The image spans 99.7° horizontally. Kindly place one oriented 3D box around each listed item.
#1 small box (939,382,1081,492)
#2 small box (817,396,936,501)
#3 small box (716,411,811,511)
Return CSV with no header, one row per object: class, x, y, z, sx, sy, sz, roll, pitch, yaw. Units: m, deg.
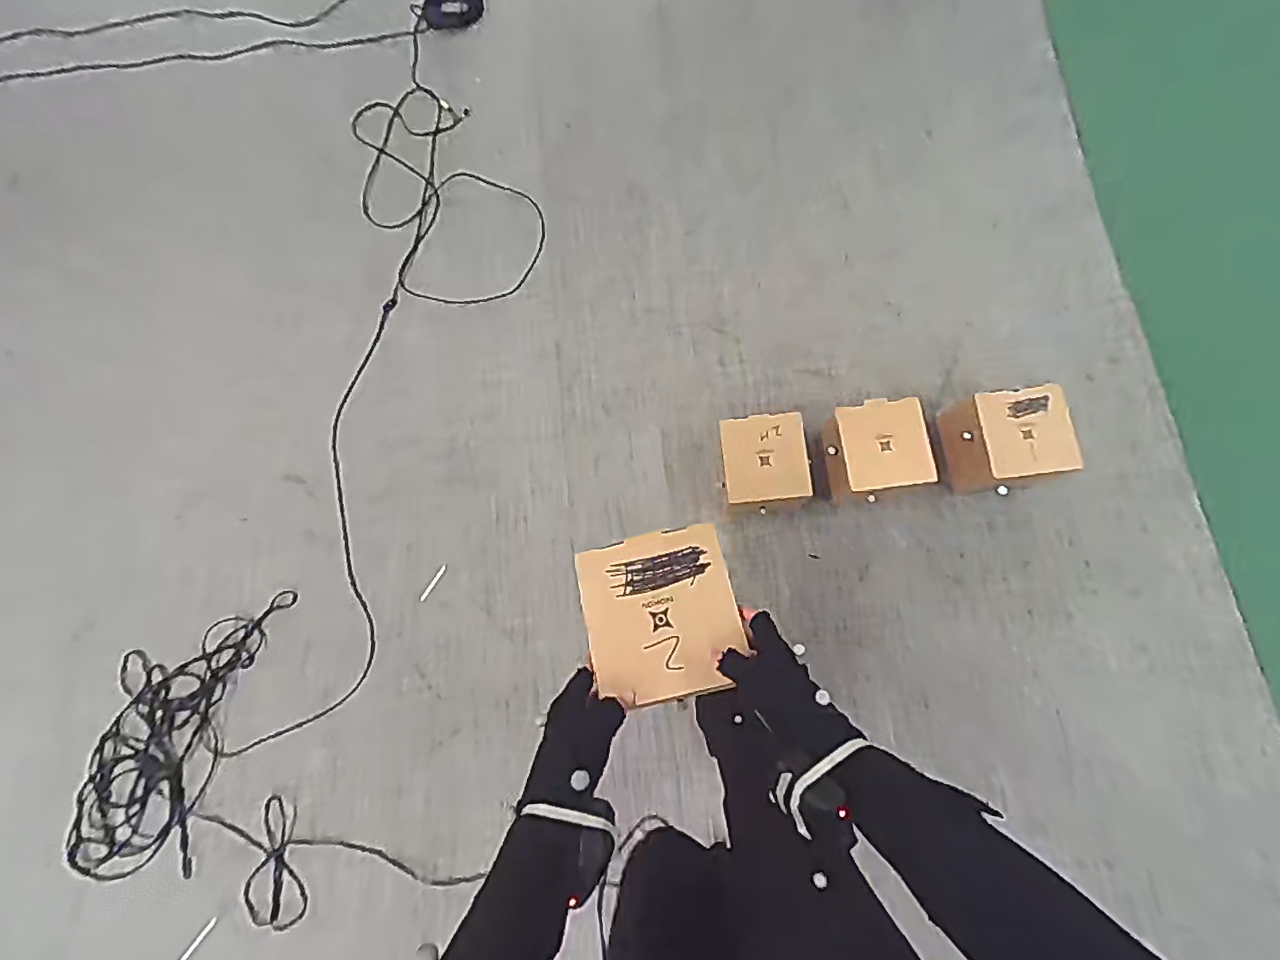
small box,0.747,-0.082,1.114,0.168,0.176,0.179,-7,78,4
small box,0.485,-0.057,1.134,0.168,0.176,0.179,-8,77,3
small box,0.254,-0.031,1.147,0.168,0.176,0.179,-6,78,4
